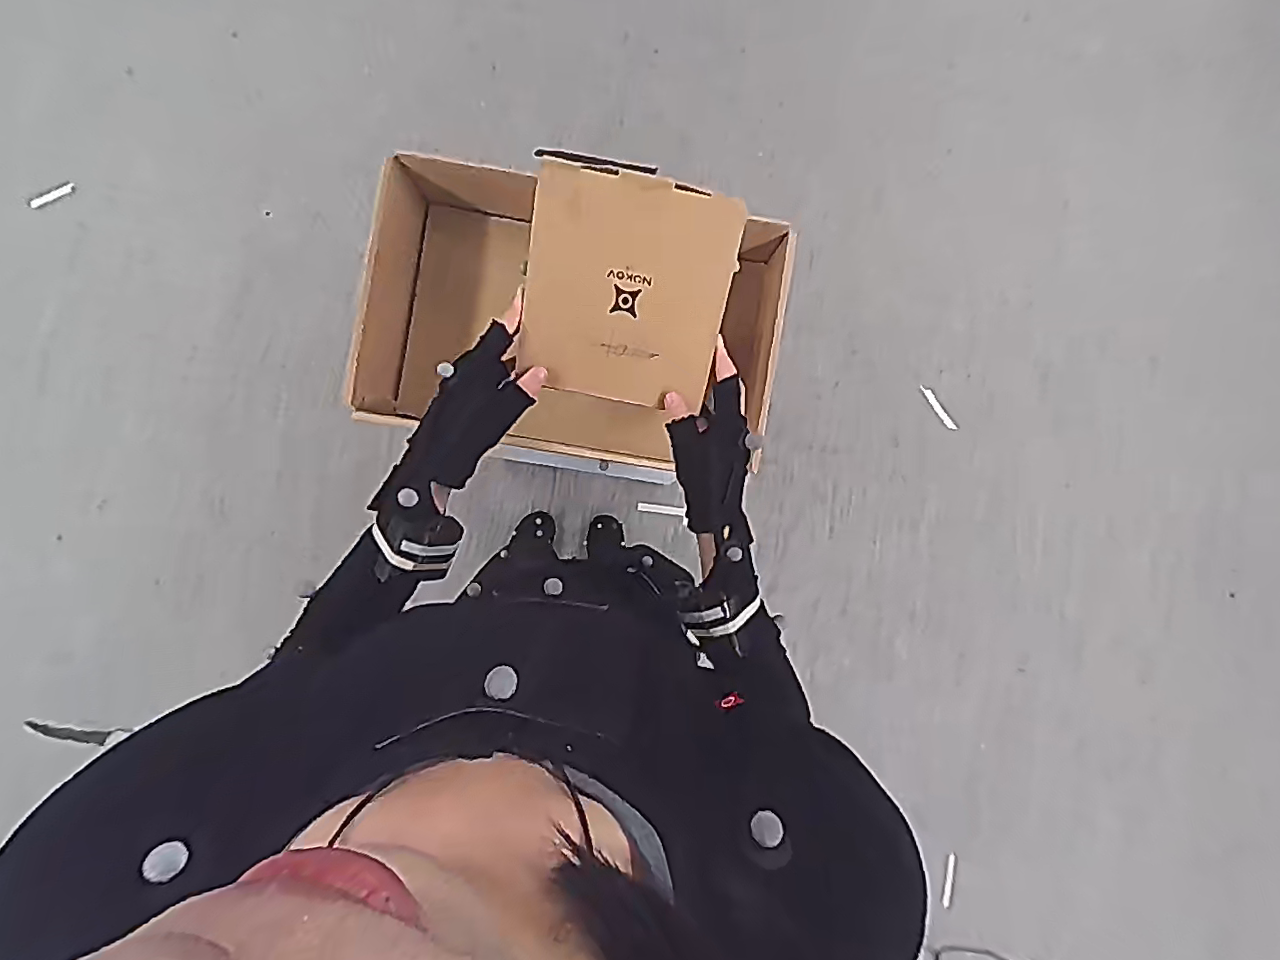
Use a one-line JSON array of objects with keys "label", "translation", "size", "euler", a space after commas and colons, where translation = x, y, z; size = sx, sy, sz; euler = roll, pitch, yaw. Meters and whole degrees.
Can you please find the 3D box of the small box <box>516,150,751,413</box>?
[{"label": "small box", "translation": [-0.011, -0.179, 0.512], "size": [0.168, 0.176, 0.179], "euler": [10, 110, -4]}]
